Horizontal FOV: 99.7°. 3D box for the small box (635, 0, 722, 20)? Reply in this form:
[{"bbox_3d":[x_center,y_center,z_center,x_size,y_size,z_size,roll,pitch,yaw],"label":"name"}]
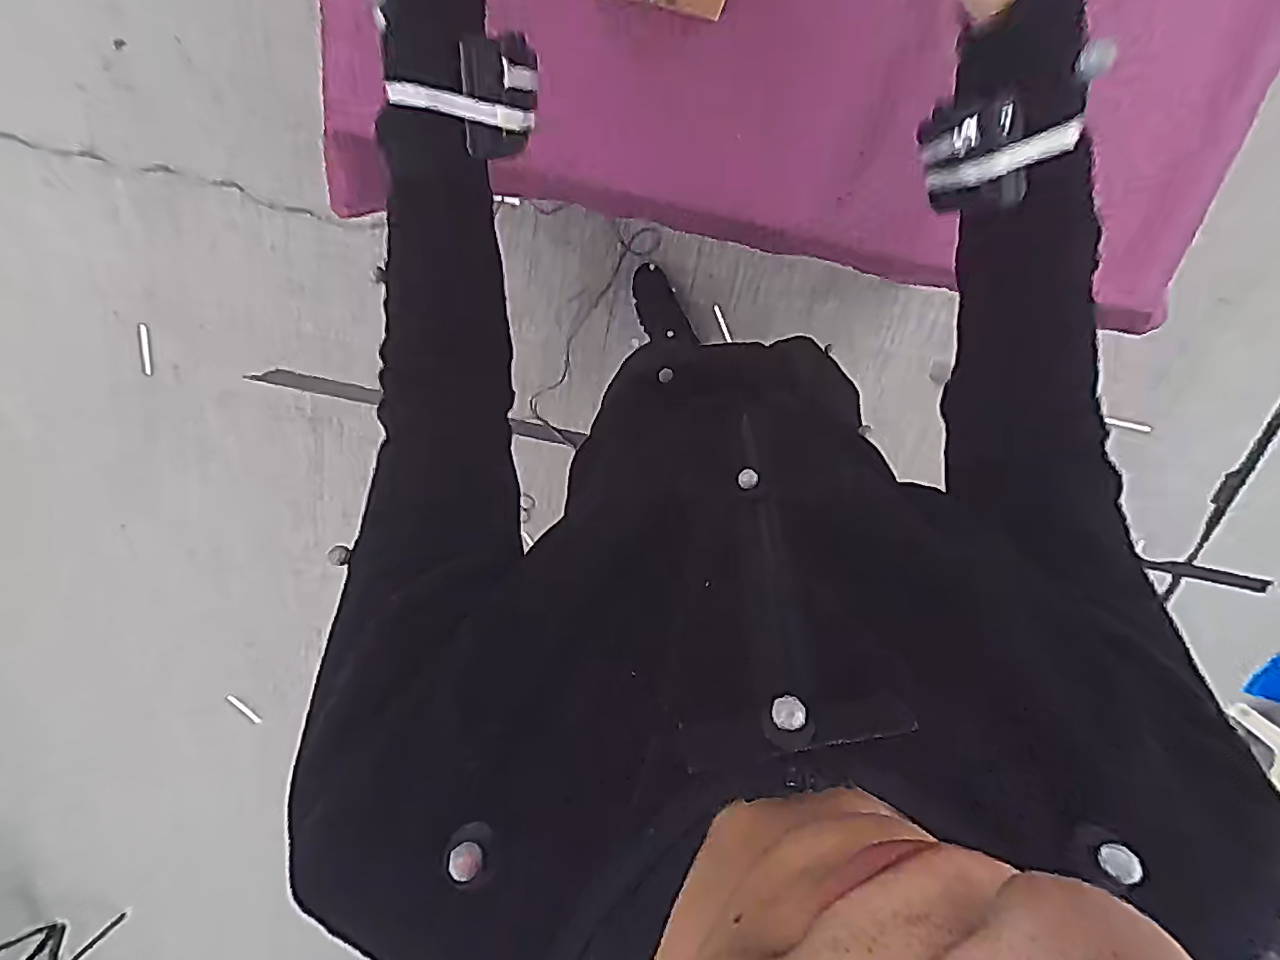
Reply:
[{"bbox_3d":[0.034,-0.634,0.560,0.168,0.176,0.179,11,111,-5],"label":"small box"}]
